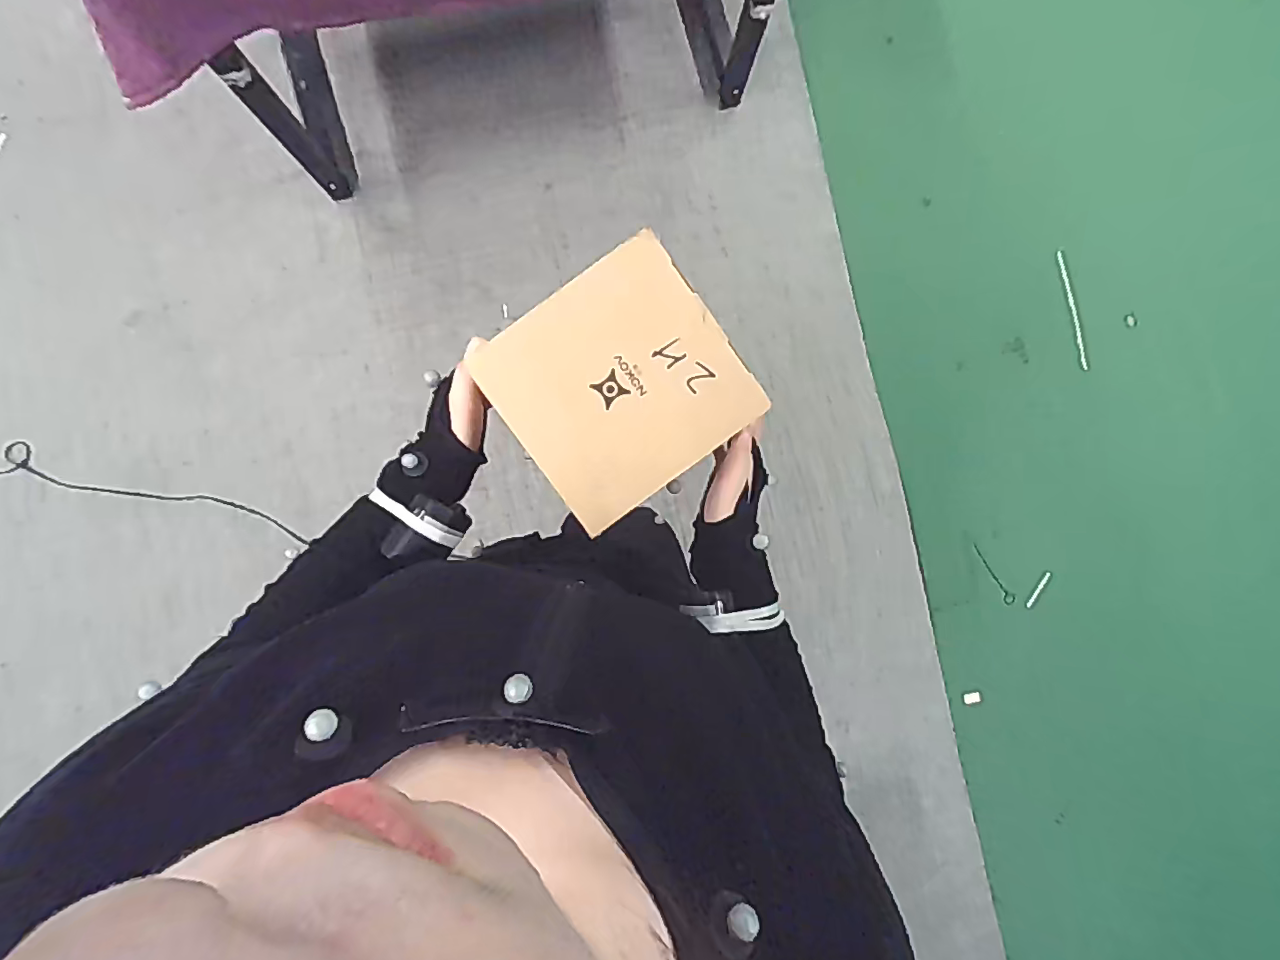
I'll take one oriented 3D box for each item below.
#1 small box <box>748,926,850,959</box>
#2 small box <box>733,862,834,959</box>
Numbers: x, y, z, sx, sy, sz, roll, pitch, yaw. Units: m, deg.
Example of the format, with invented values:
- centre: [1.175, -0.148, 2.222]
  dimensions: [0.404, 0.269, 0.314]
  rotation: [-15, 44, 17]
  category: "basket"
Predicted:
- centre: [0.313, 0.958, 0.970]
  dimensions: [0.179, 0.176, 0.168]
  rotation: [-11, 91, -6]
  category: "small box"
- centre: [0.305, 0.959, 1.136]
  dimensions: [0.168, 0.176, 0.179]
  rotation: [-10, 92, -5]
  category: "small box"
